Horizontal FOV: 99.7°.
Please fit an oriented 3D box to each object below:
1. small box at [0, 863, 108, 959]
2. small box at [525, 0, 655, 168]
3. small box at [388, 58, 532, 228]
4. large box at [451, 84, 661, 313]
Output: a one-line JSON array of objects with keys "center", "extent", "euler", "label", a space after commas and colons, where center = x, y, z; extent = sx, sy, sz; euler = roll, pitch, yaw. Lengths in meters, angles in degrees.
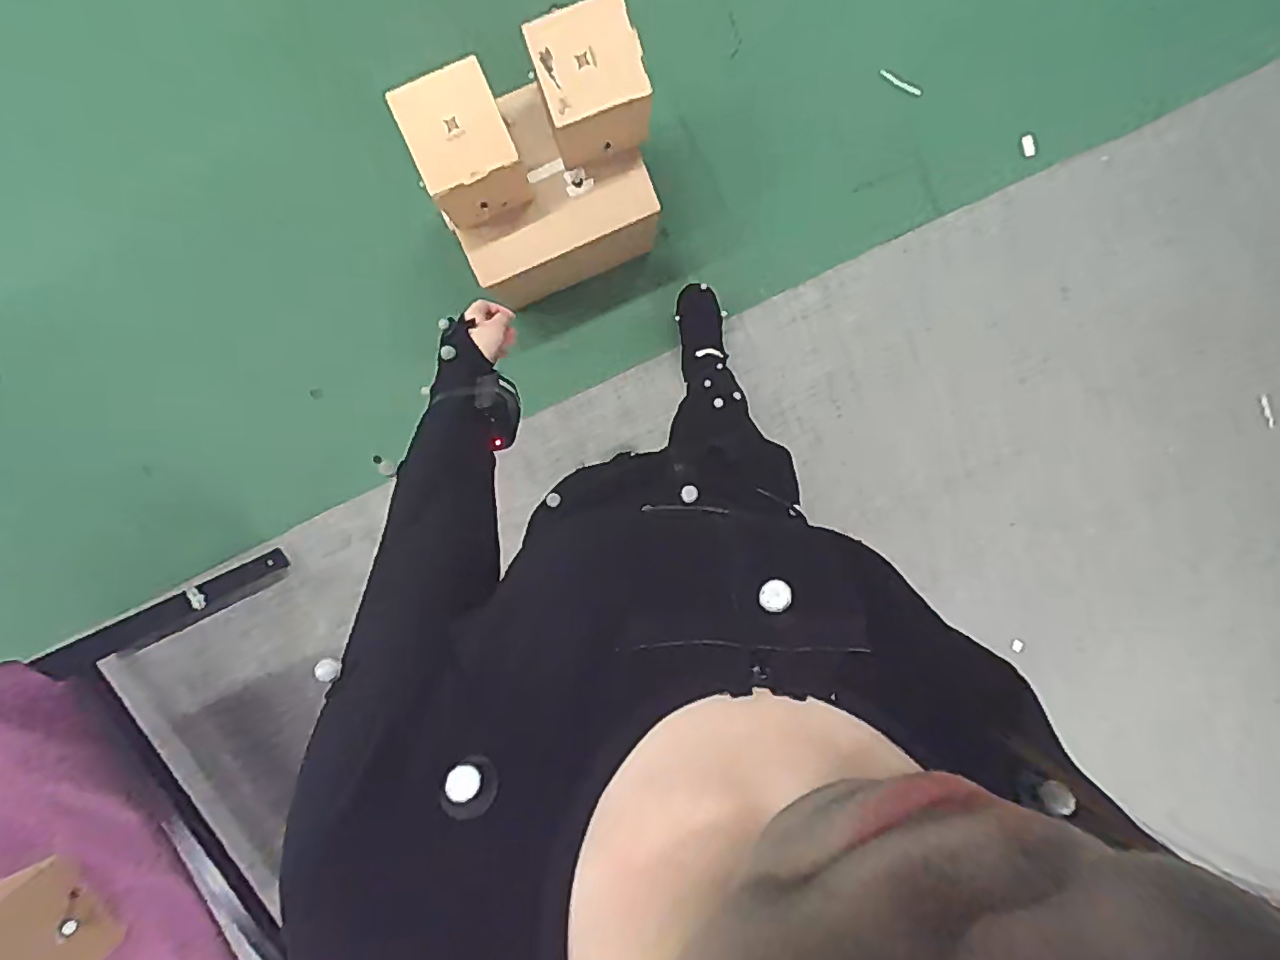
[{"center": [-0.883, 0.661, 0.708], "extent": [0.179, 0.176, 0.168], "euler": [-25, 99, 1], "label": "small box"}, {"center": [-0.085, -0.694, 0.963], "extent": [0.179, 0.176, 0.168], "euler": [-19, 98, 1], "label": "small box"}, {"center": [-0.311, -0.590, 0.971], "extent": [0.168, 0.176, 0.179], "euler": [-23, 98, 0], "label": "small box"}, {"center": [-0.204, -0.622, 1.216], "extent": [0.408, 0.320, 0.320], "euler": [-24, 99, 1], "label": "large box"}]
